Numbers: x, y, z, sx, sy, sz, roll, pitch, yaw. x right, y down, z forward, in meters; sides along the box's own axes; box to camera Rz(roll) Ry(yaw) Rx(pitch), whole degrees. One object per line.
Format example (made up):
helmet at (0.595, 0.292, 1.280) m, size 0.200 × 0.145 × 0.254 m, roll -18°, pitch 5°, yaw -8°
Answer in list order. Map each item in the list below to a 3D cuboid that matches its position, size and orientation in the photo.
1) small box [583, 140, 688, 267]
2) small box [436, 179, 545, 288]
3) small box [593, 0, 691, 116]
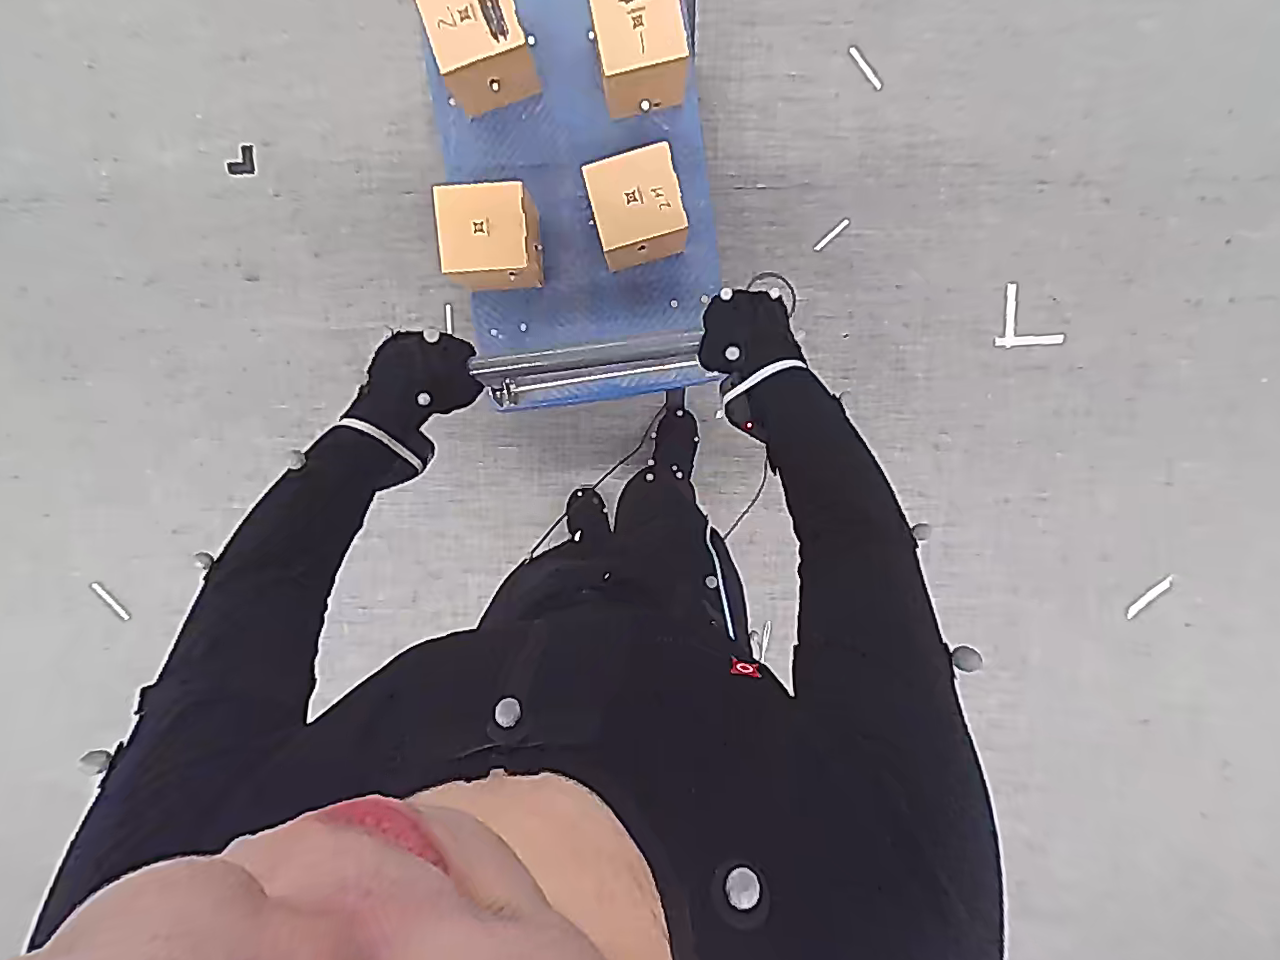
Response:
small box at (-0.005, -0.562, 1.126) m, size 0.179 × 0.176 × 0.168 m, roll -14°, pitch 98°, yaw 4°
small box at (-0.308, -0.511, 1.142) m, size 0.179 × 0.176 × 0.168 m, roll -3°, pitch 98°, yaw 0°
small box at (0.001, -0.876, 1.082) m, size 0.168 × 0.176 × 0.179 m, roll -11°, pitch 99°, yaw 3°
